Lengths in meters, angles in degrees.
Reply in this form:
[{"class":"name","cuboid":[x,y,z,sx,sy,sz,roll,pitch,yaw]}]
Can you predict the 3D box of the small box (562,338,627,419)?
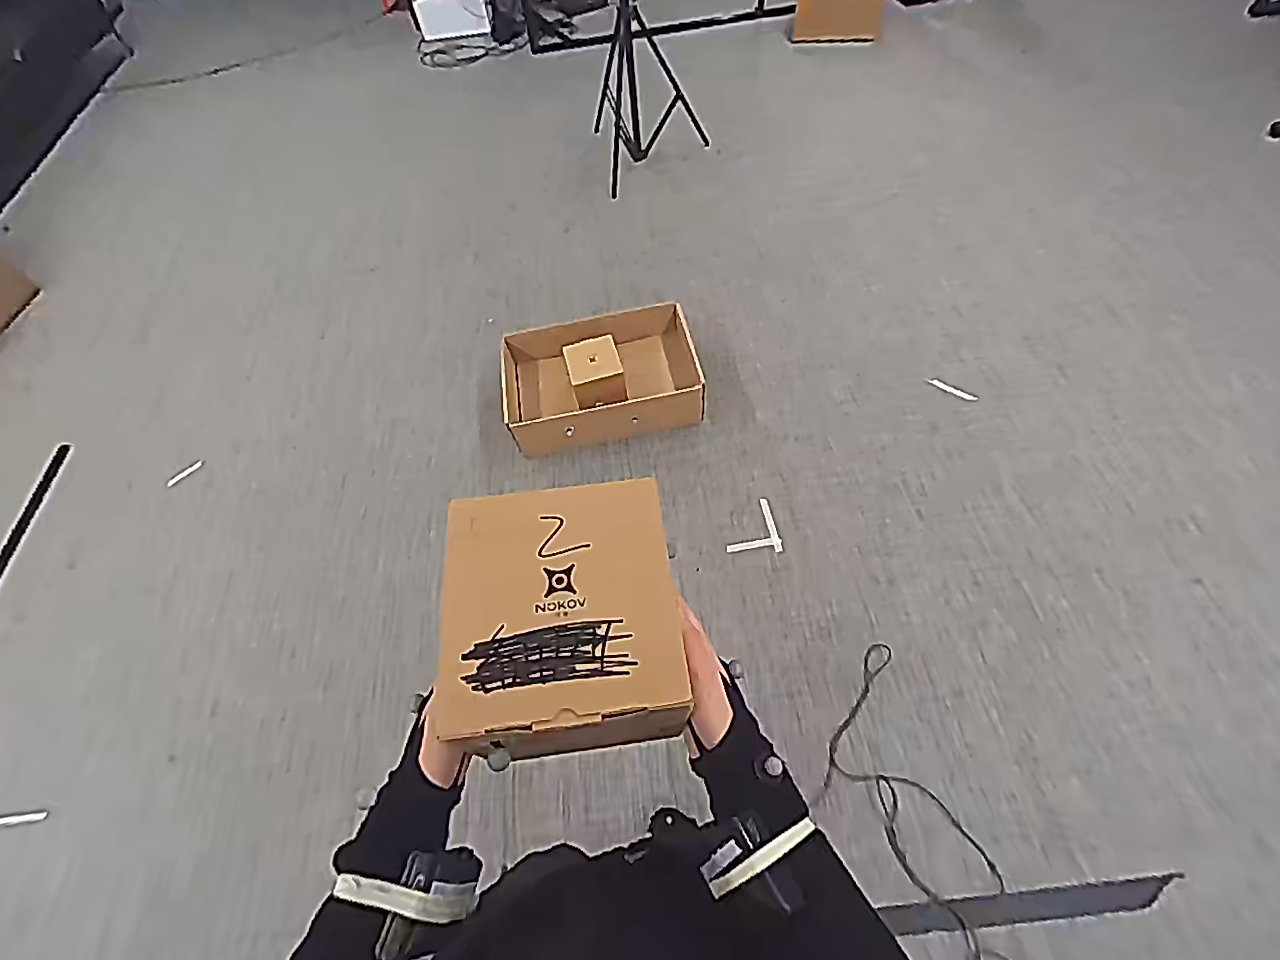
[{"class":"small box","cuboid":[-0.146,-0.329,1.768,0.168,0.176,0.179,-17,59,-3]}]
